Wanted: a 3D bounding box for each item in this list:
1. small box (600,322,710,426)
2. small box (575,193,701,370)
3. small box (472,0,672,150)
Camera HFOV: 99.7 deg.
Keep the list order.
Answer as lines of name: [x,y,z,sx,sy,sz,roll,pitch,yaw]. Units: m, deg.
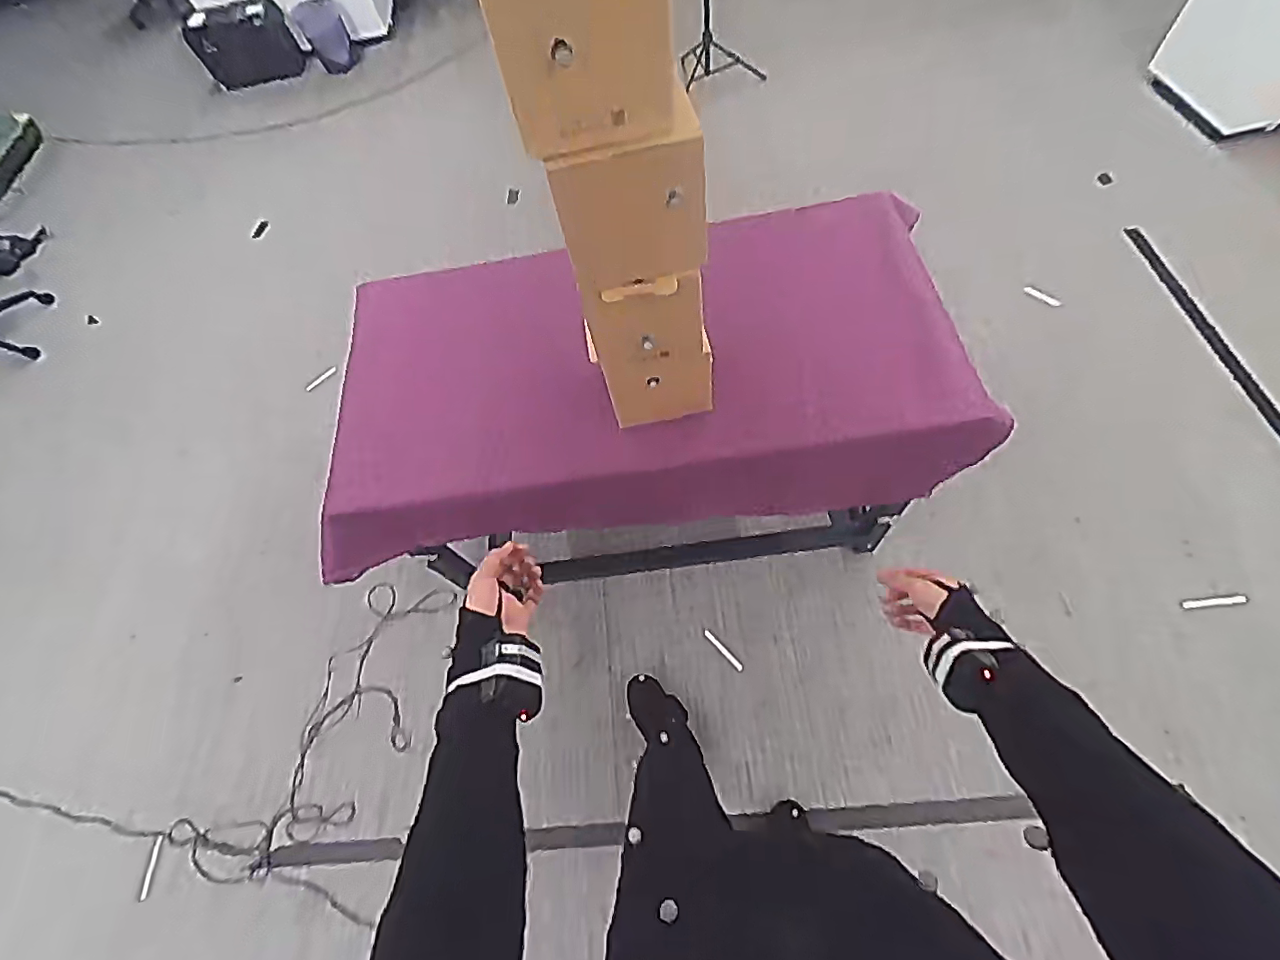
small box: [0.023,-0.216,0.961,0.179,0.176,0.168,-12,62,2]
small box: [0.000,-0.294,0.819,0.168,0.176,0.179,-7,62,6]
small box: [-0.067,-0.462,0.543,0.168,0.176,0.179,-12,61,1]
